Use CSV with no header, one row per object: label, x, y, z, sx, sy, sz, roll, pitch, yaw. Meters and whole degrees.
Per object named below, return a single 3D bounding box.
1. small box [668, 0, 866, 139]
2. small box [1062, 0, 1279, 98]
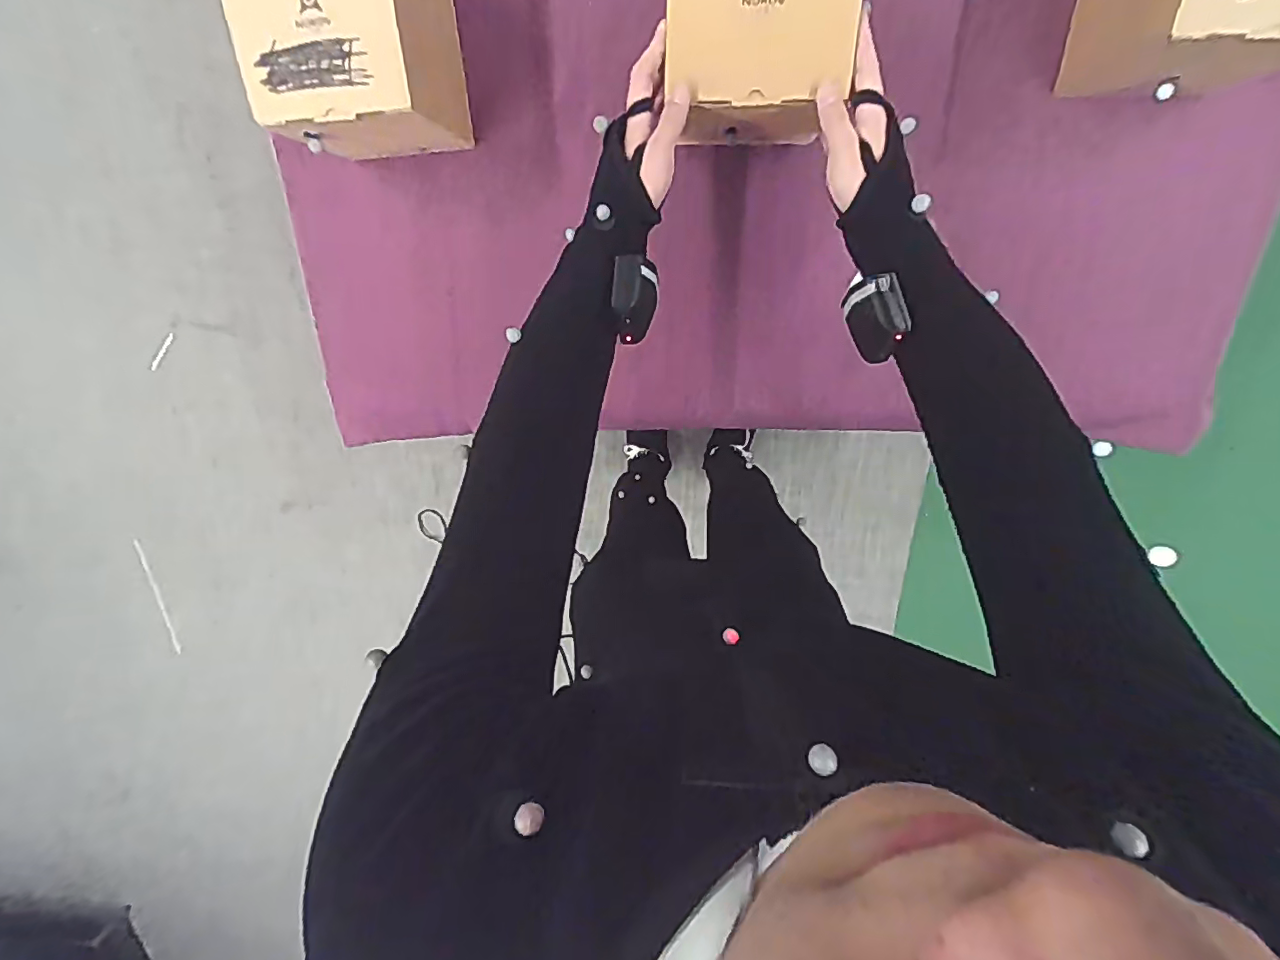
small box,0.112,-0.447,0.520,0.168,0.176,0.179,2,114,4
small box,0.537,-0.478,0.493,0.168,0.176,0.179,4,112,6
